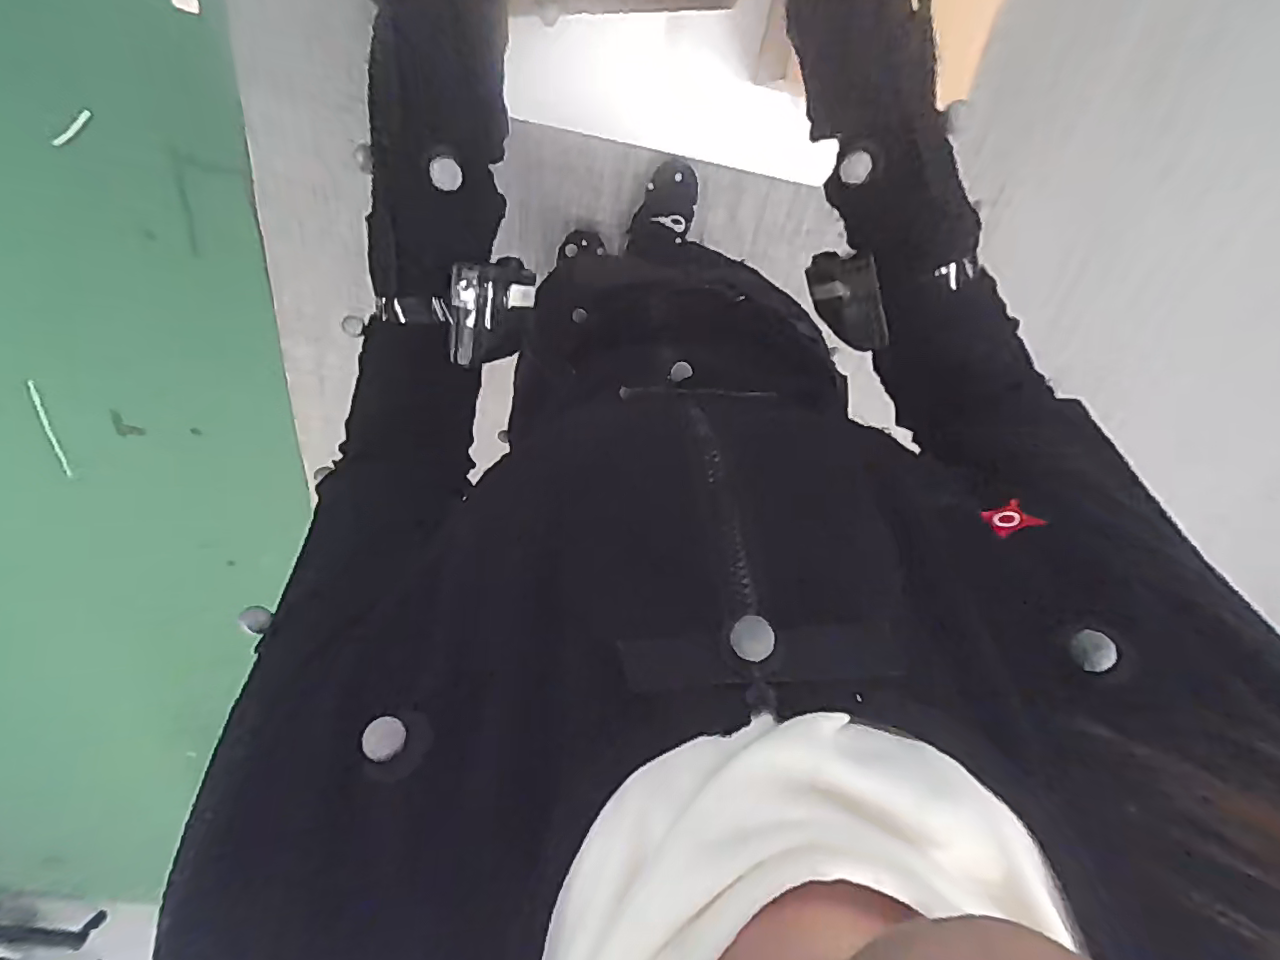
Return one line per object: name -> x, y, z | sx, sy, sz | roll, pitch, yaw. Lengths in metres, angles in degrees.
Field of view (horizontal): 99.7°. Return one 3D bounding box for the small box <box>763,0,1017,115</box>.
small box -> 0.218, -0.442, 0.479 | 0.168, 0.176, 0.179 | 8, 125, -4
